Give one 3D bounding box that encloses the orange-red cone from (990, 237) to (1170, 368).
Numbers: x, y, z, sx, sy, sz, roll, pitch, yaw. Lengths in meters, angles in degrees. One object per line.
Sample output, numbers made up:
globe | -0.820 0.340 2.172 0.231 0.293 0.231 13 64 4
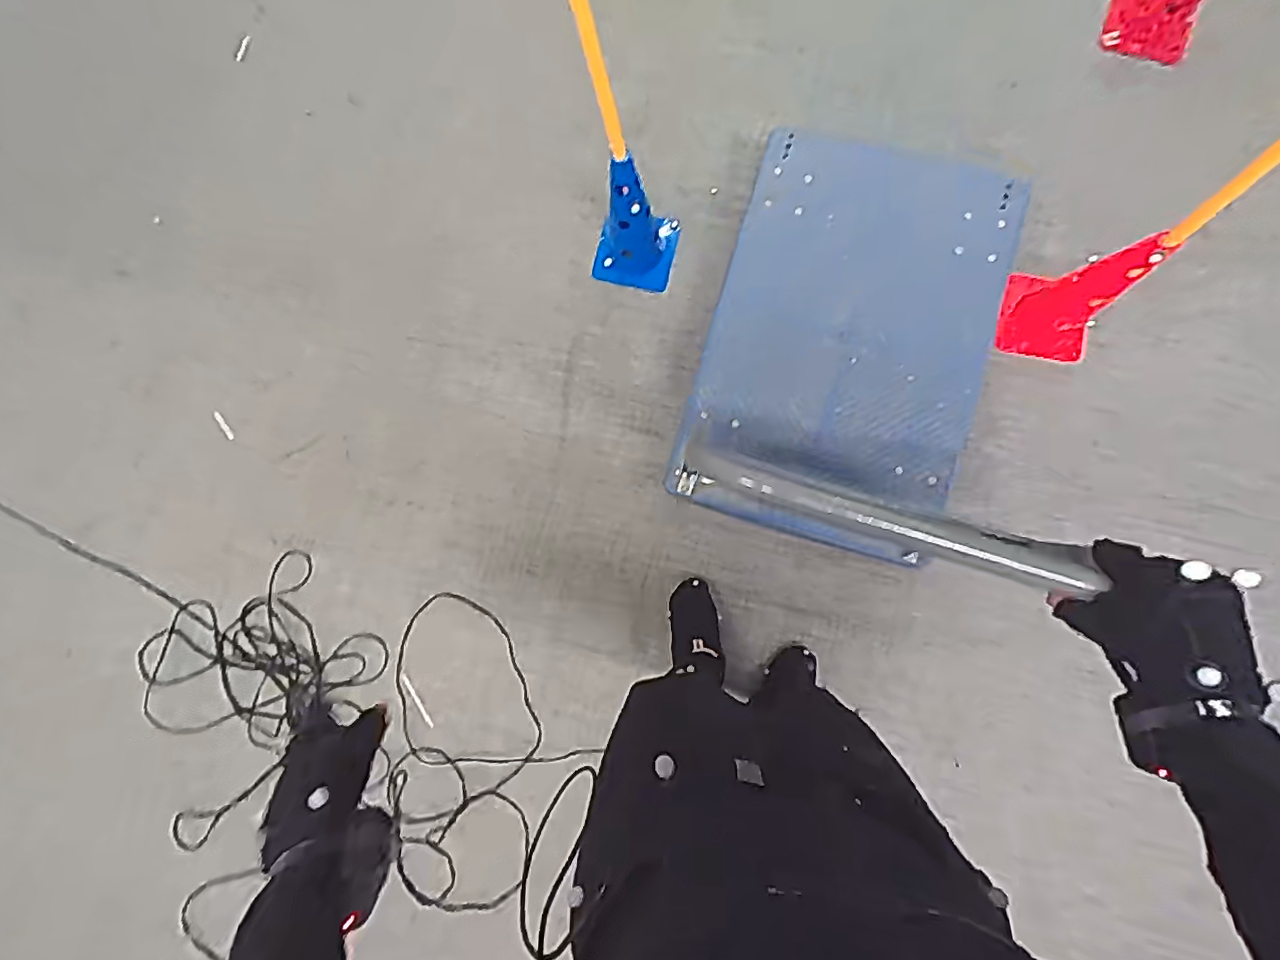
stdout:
orange-red cone | 0.953 -0.401 1.151 0.199 0.360 0.198 13 84 7
